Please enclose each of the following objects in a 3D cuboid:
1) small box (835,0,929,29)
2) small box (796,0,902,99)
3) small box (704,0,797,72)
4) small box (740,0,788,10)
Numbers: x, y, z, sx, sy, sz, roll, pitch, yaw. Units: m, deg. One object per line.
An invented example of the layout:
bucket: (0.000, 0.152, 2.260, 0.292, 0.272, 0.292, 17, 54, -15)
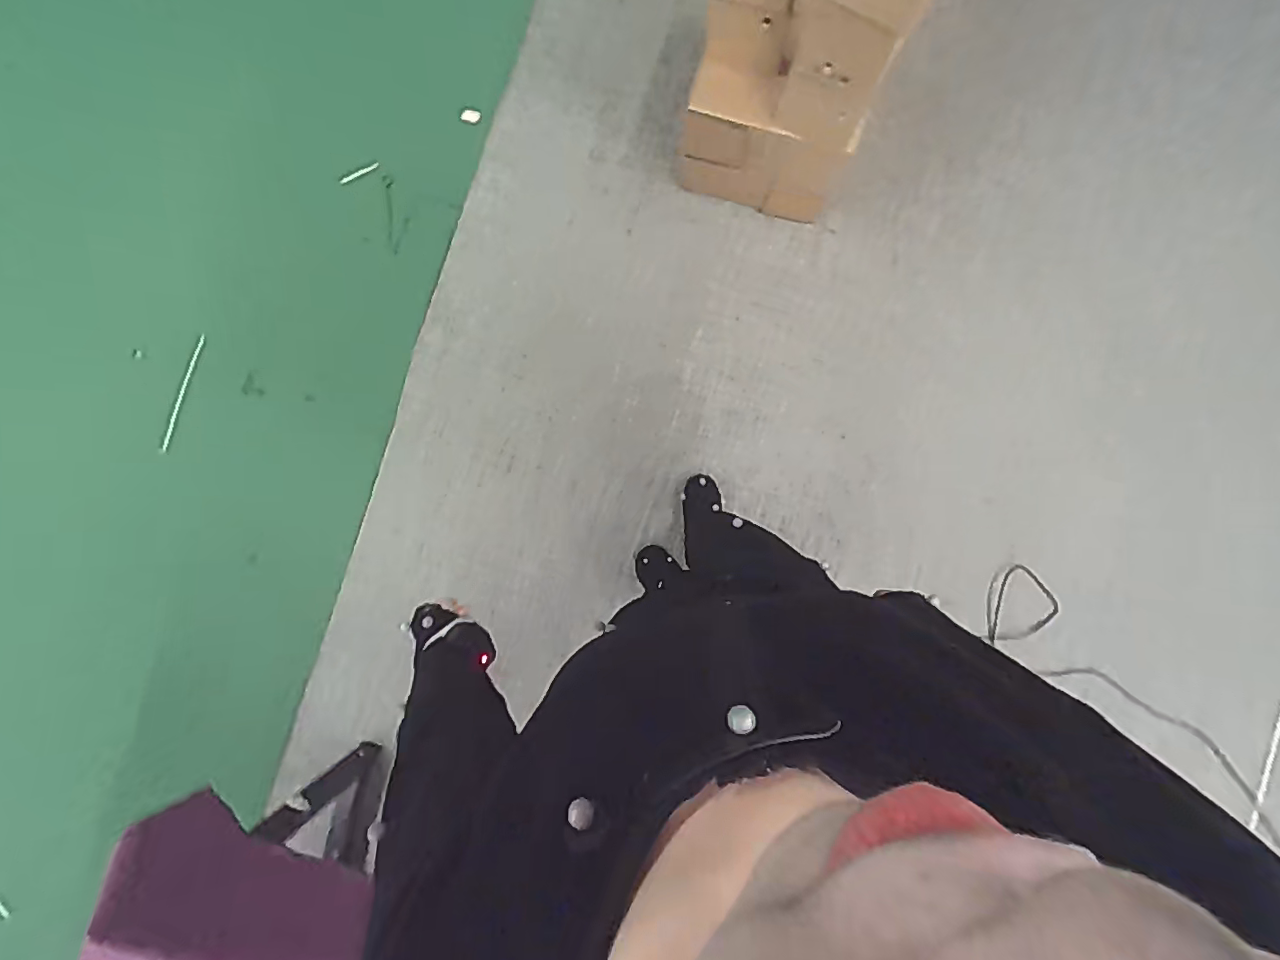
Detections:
small box: (0.401, -0.849, 0.821, 0.179, 0.176, 0.168, 30, 89, 5)
small box: (0.404, -0.859, 0.987, 0.168, 0.176, 0.179, 25, 88, 4)
small box: (0.247, -1.036, 1.173, 0.179, 0.176, 0.168, 16, 86, 4)
small box: (0.235, -1.049, 1.011, 0.168, 0.176, 0.179, 18, 87, 4)
